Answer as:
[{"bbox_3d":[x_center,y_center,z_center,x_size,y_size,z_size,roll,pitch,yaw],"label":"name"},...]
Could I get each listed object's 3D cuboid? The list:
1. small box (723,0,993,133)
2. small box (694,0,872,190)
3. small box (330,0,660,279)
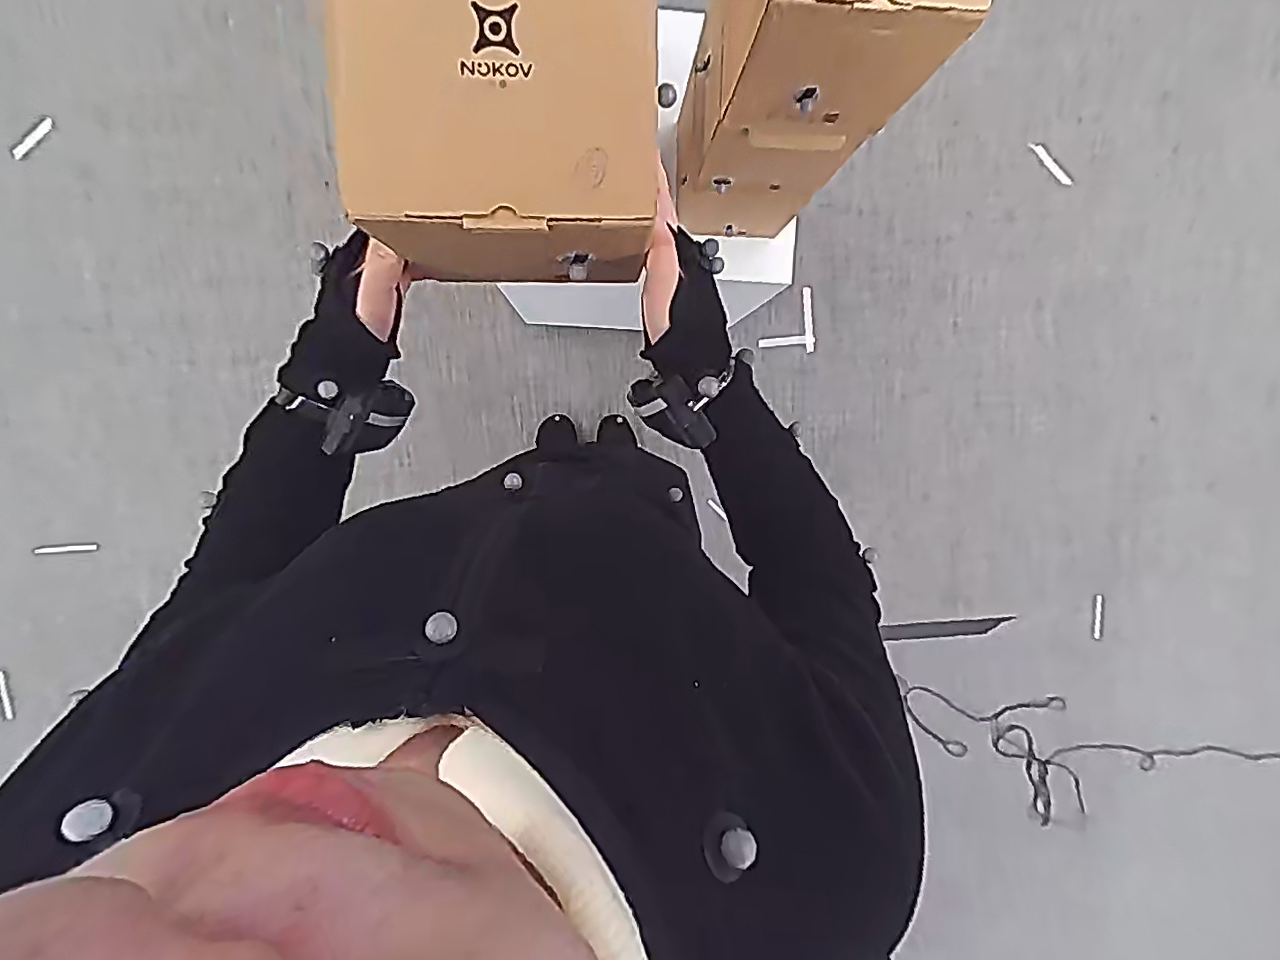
[{"bbox_3d":[0.170,-0.433,0.456,0.168,0.176,0.179,0,97,-4],"label":"small box"},{"bbox_3d":[0.157,-0.454,0.617,0.168,0.176,0.179,1,96,-4],"label":"small box"},{"bbox_3d":[-0.075,-0.235,0.351,0.168,0.176,0.179,-1,100,-4],"label":"small box"}]
